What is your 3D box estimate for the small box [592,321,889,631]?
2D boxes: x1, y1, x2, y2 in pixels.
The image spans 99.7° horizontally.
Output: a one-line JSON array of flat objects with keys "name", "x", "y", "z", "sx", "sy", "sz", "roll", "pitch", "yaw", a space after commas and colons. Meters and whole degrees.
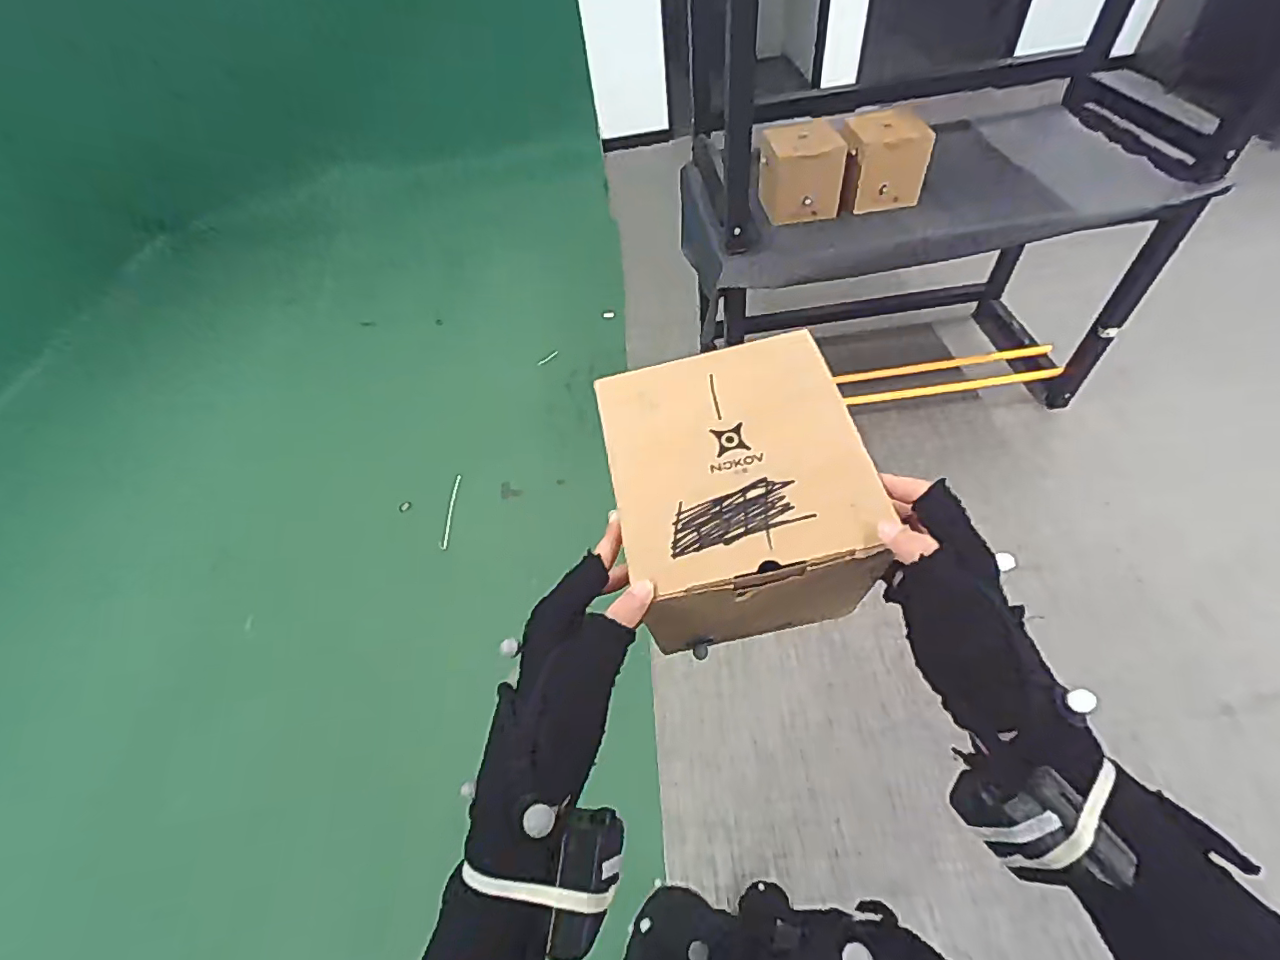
[{"name": "small box", "x": 0.067, "y": 0.010, "z": 0.430, "sx": 0.168, "sy": 0.176, "sz": 0.179, "roll": -12, "pitch": 59, "yaw": 2}]

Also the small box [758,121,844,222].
[{"name": "small box", "x": 0.401, "y": -0.788, "z": 1.384, "sx": 0.168, "sy": 0.176, "sz": 0.179, "roll": -8, "pitch": 51, "yaw": 3}]
